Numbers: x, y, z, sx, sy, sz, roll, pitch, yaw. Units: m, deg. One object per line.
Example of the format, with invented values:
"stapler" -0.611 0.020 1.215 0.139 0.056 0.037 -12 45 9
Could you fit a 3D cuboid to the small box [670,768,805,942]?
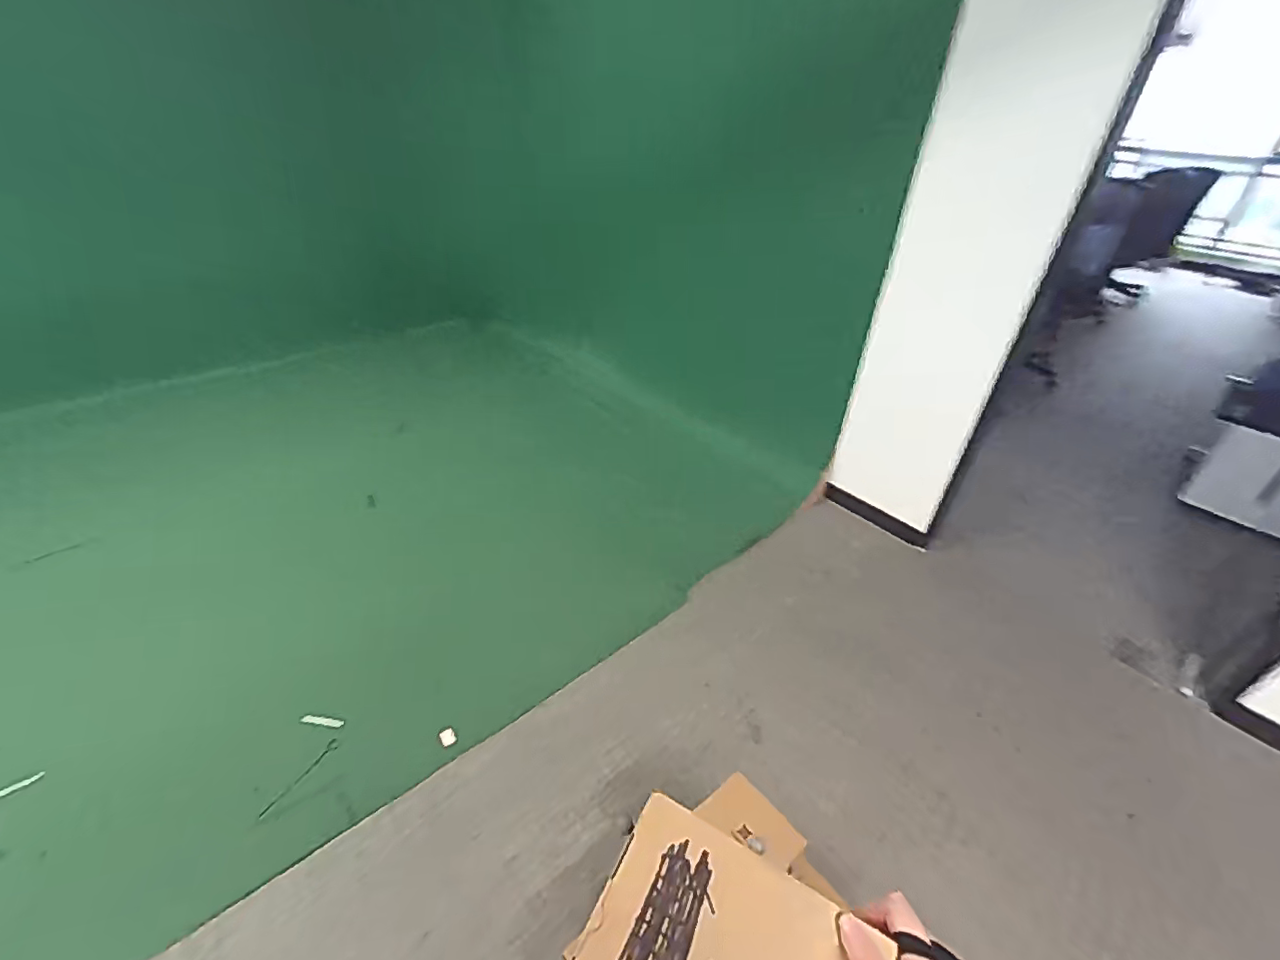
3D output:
"small box" 0.172 0.692 1.004 0.179 0.176 0.168 -22 42 -34
